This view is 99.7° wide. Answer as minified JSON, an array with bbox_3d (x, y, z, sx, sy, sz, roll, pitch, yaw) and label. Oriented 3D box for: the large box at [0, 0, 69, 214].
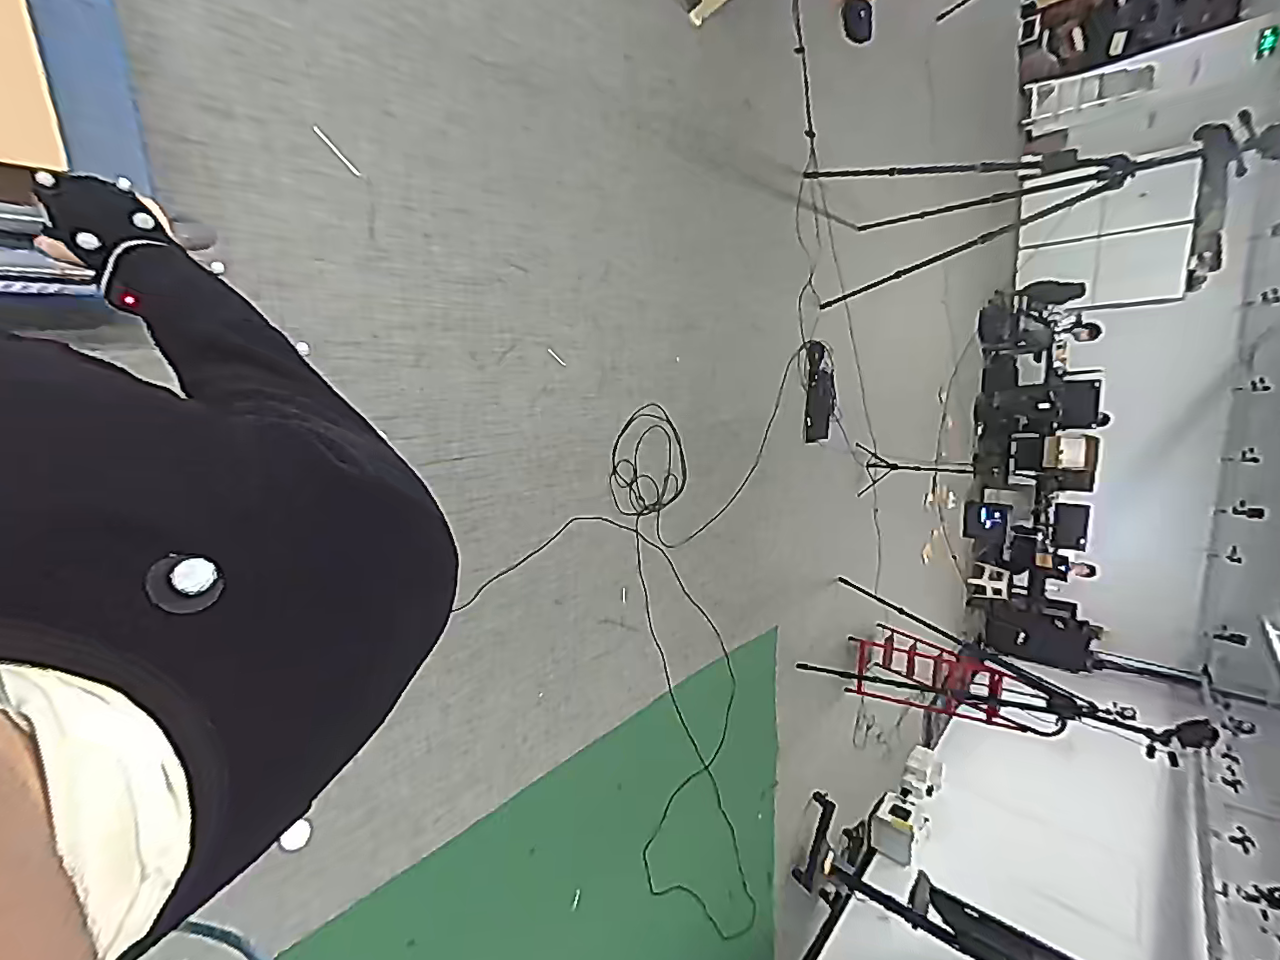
[{"bbox_3d":[-1.080,-0.636,0.757,0.320,0.320,0.408,-17,107,-44],"label":"large box"}]
